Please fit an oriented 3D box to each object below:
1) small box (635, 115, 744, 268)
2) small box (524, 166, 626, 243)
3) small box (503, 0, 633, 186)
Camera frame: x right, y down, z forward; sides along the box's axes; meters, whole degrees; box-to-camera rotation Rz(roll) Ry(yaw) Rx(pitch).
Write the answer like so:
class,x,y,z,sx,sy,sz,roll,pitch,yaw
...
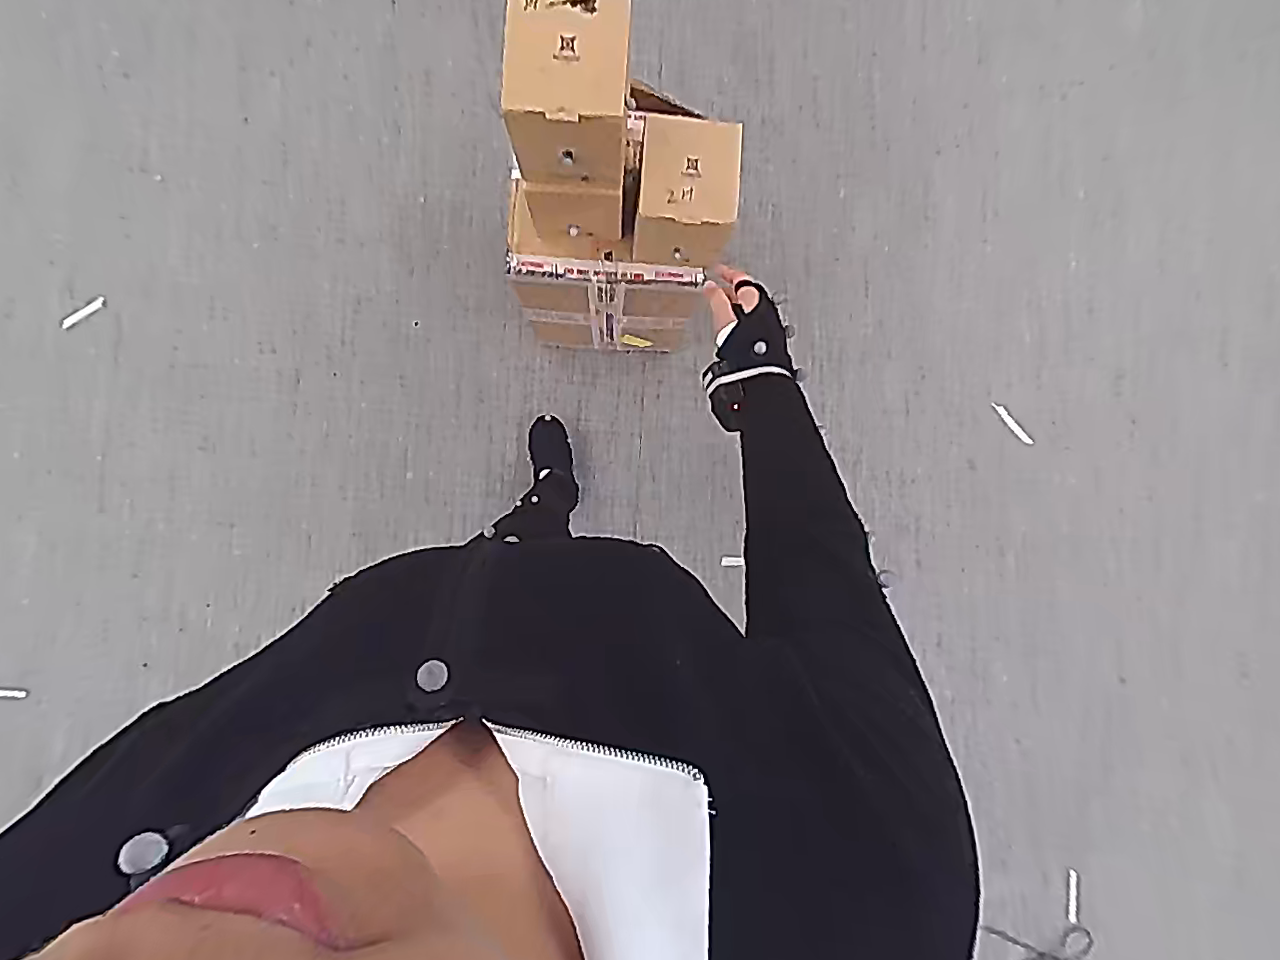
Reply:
class,x,y,z,sx,sy,sz,roll,pitch,yaw
small box,0.081,-0.508,0.974,0.168,0.176,0.179,4,89,-4
small box,-0.109,-0.551,0.965,0.168,0.176,0.179,2,90,-2
small box,-0.098,-0.566,0.802,0.168,0.176,0.179,4,90,-2
